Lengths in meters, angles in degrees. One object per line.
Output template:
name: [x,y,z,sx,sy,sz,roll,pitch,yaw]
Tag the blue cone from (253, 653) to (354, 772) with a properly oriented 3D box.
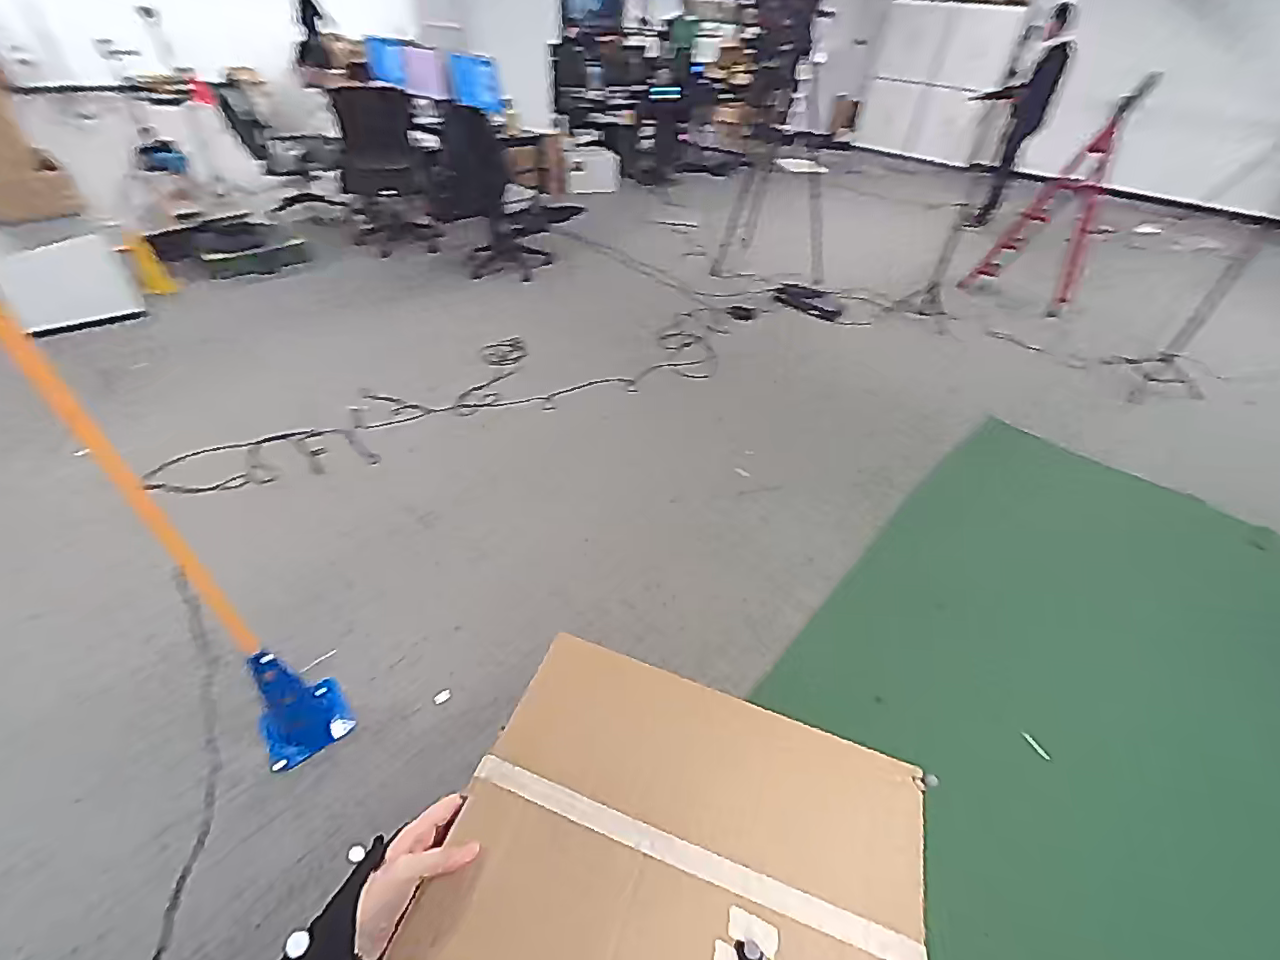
blue cone: [-0.896,0.550,1.378,0.193,0.380,0.192,-25,49,-30]
